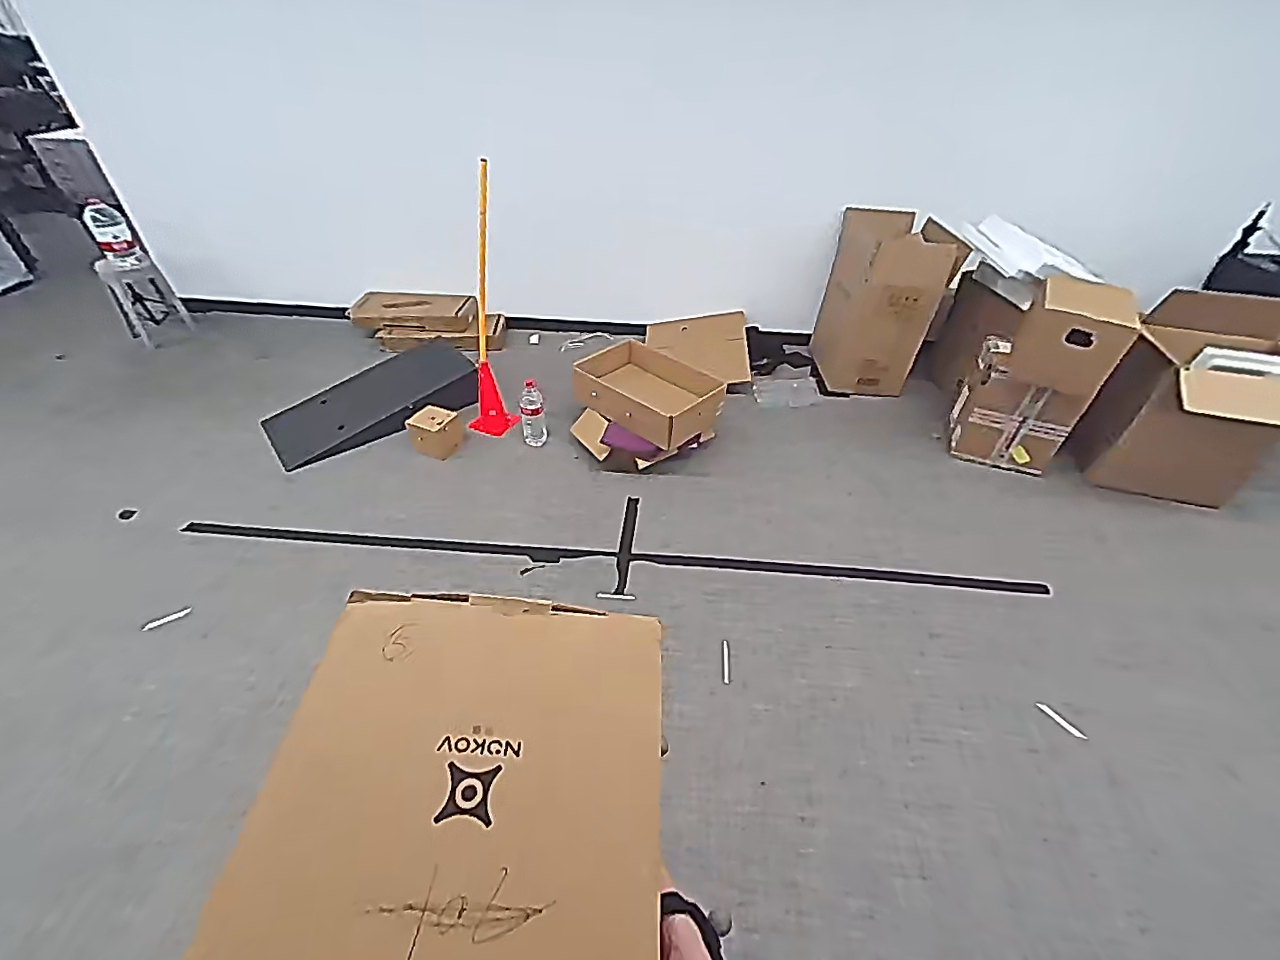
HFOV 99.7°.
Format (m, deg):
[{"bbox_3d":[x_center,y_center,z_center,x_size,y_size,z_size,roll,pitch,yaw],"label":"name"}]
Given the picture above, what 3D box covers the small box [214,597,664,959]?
[{"bbox_3d":[-0.081,0.190,0.301,0.168,0.176,0.179,6,48,-5],"label":"small box"}]
